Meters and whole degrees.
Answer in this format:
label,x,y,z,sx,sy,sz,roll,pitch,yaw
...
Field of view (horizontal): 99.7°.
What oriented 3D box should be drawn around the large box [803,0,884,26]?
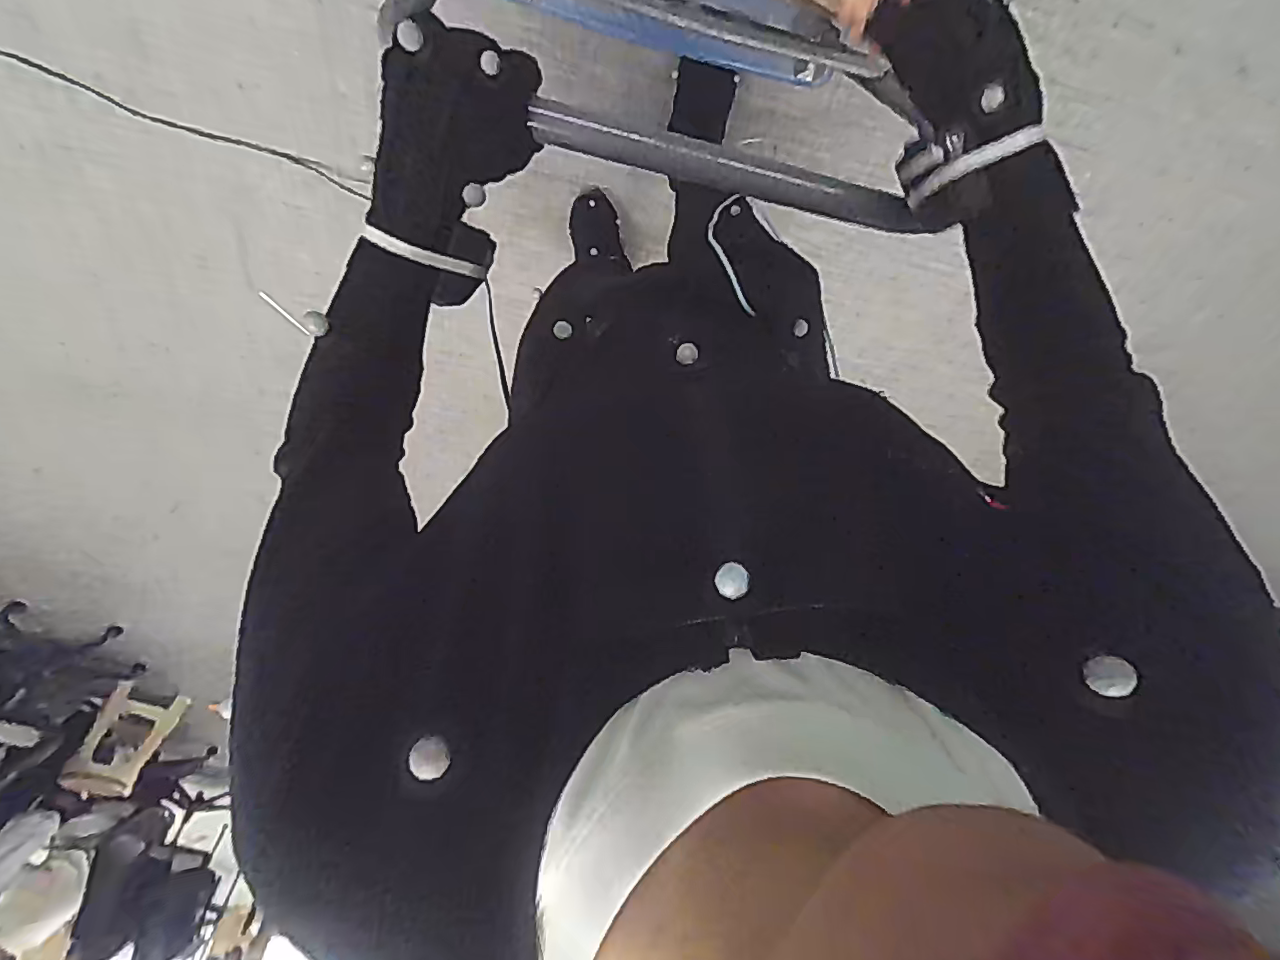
label,x,y,z,sx,sy,sz,roll,pitch,yaw
large box,0.146,-0.798,0.613,0.408,0.320,0.320,16,133,-12
